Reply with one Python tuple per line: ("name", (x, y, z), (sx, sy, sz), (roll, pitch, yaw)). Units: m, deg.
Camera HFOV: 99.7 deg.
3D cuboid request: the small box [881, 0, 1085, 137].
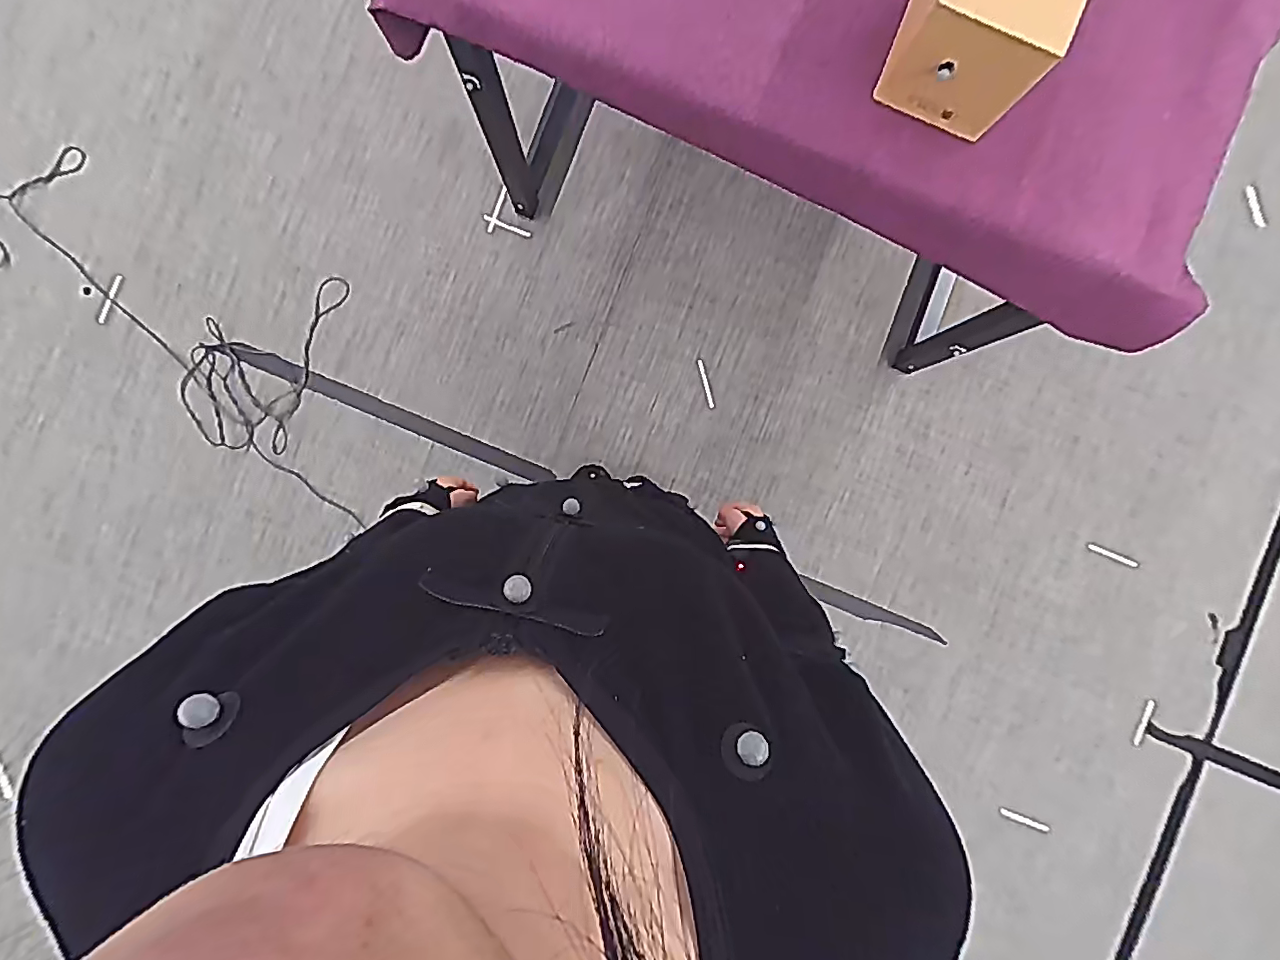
("small box", (0.448, -0.602, 0.711), (0.168, 0.176, 0.179), (22, 89, -2))
